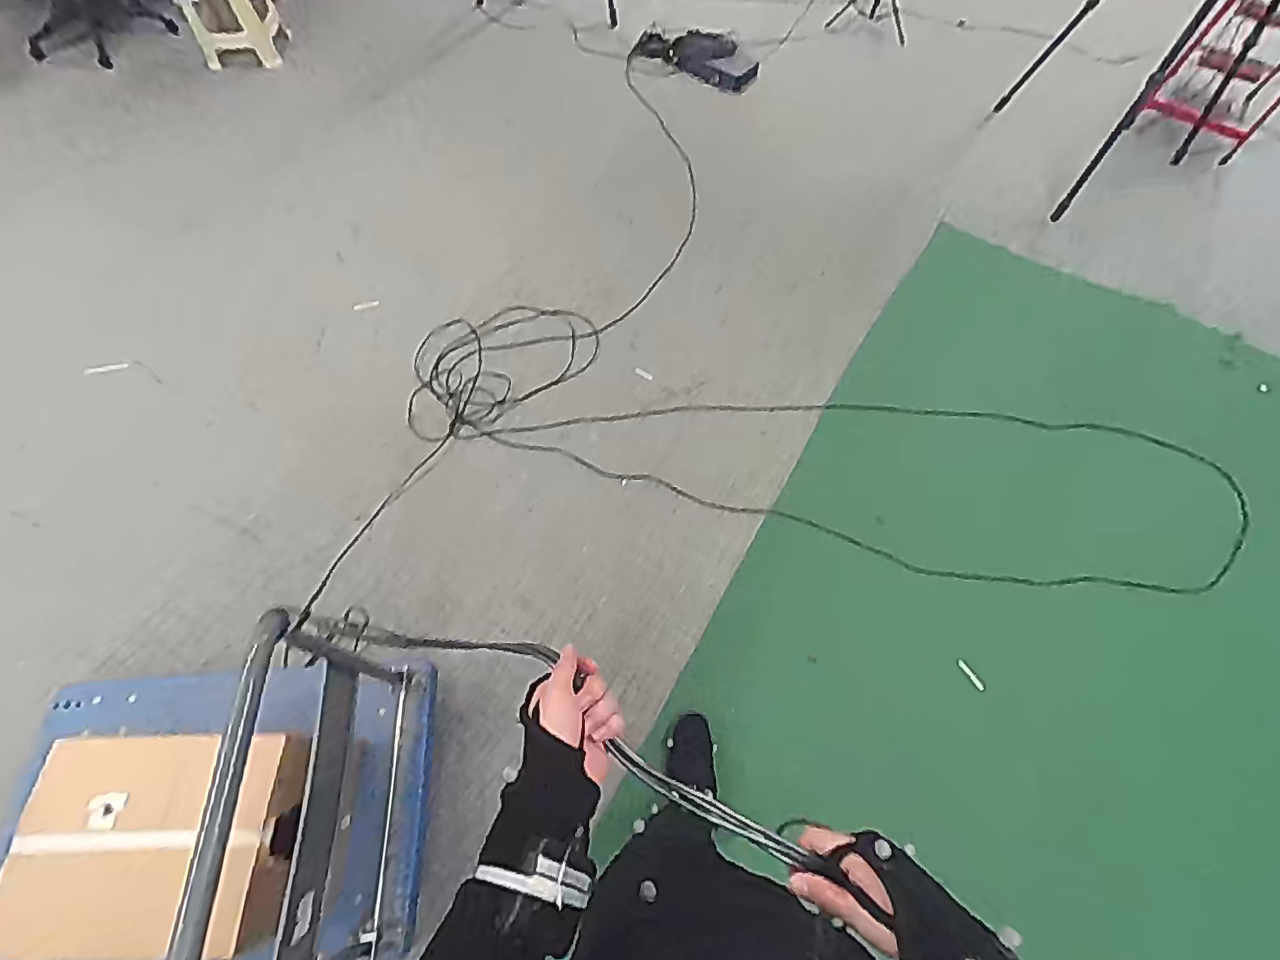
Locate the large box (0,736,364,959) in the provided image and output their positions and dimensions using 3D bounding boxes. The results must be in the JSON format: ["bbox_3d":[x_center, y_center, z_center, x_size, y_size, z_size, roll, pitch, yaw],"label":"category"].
[{"bbox_3d":[-0.802,0.659,1.008,0.408,0.320,0.320,-1,63,-1],"label":"large box"}]
